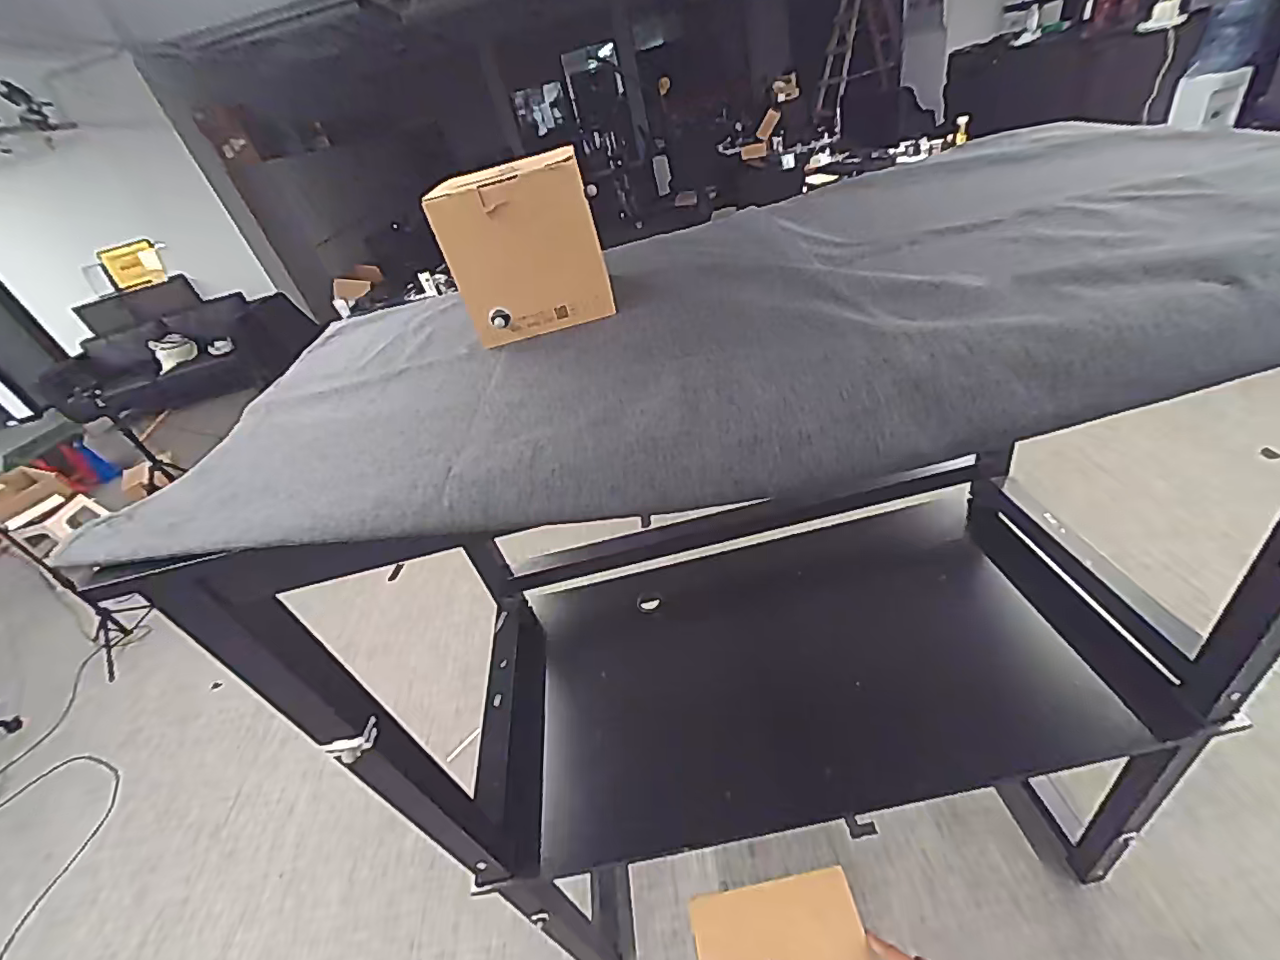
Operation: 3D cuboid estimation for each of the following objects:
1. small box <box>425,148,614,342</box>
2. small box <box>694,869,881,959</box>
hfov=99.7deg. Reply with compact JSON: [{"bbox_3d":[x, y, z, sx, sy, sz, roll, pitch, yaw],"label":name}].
[{"bbox_3d":[-0.133,-0.285,0.665,0.168,0.176,0.179,-14,35,3],"label":"small box"},{"bbox_3d":[0.170,0.547,0.574,0.179,0.176,0.168,-16,39,4],"label":"small box"}]
